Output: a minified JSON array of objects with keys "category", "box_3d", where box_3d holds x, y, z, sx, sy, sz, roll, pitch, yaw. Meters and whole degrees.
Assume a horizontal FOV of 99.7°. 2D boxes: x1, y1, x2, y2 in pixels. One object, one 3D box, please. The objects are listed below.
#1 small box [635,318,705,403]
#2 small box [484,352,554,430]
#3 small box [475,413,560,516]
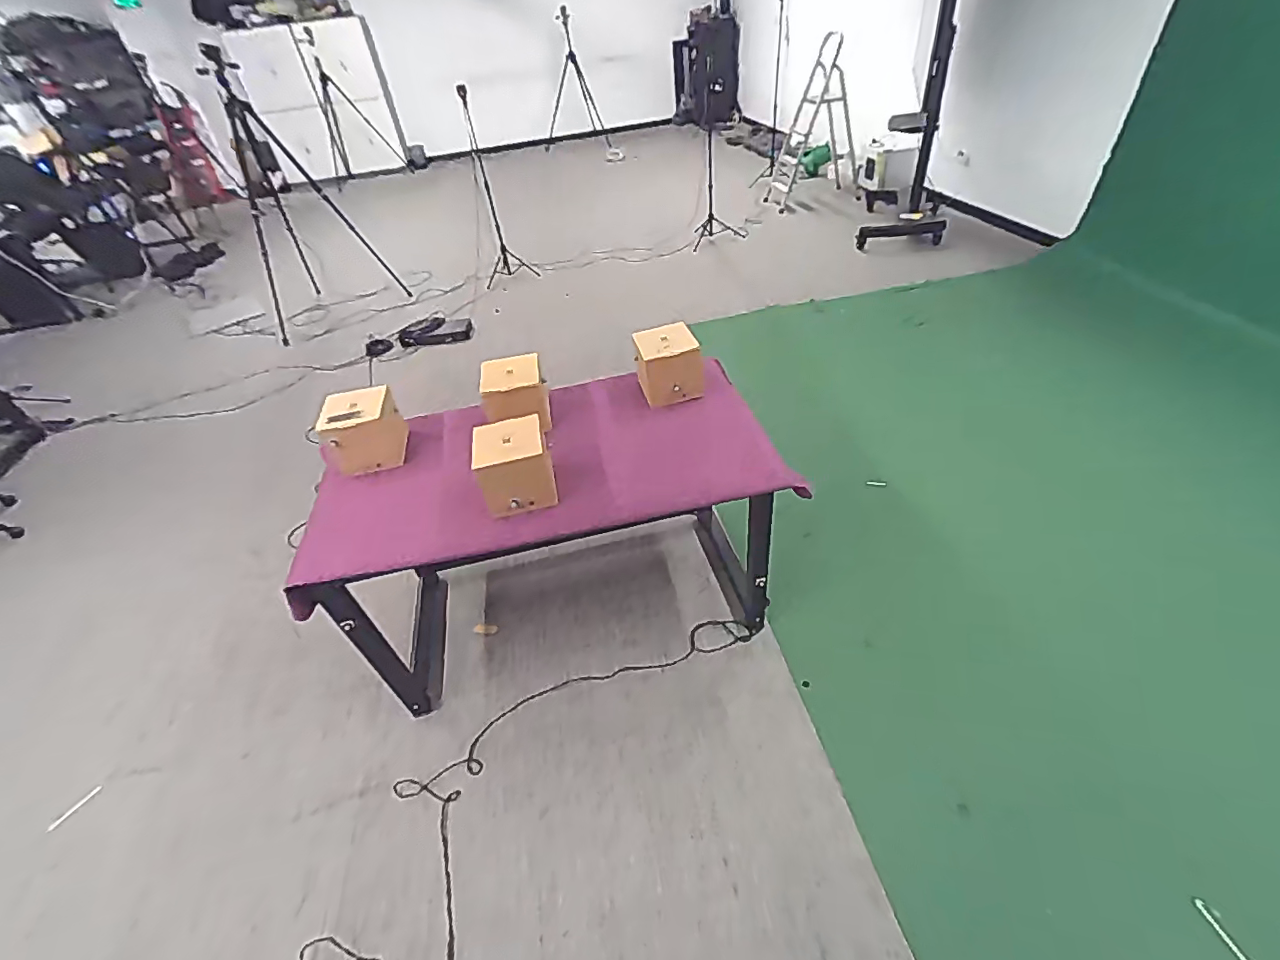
[{"category":"small box","box_3d":[0.091,-0.358,1.621,0.168,0.176,0.179,-16,43,-3]},{"category":"small box","box_3d":[-0.352,-0.252,1.593,0.168,0.176,0.179,-11,44,-3]},{"category":"small box","box_3d":[-0.302,-0.039,1.350,0.168,0.176,0.179,-14,41,-3]}]
